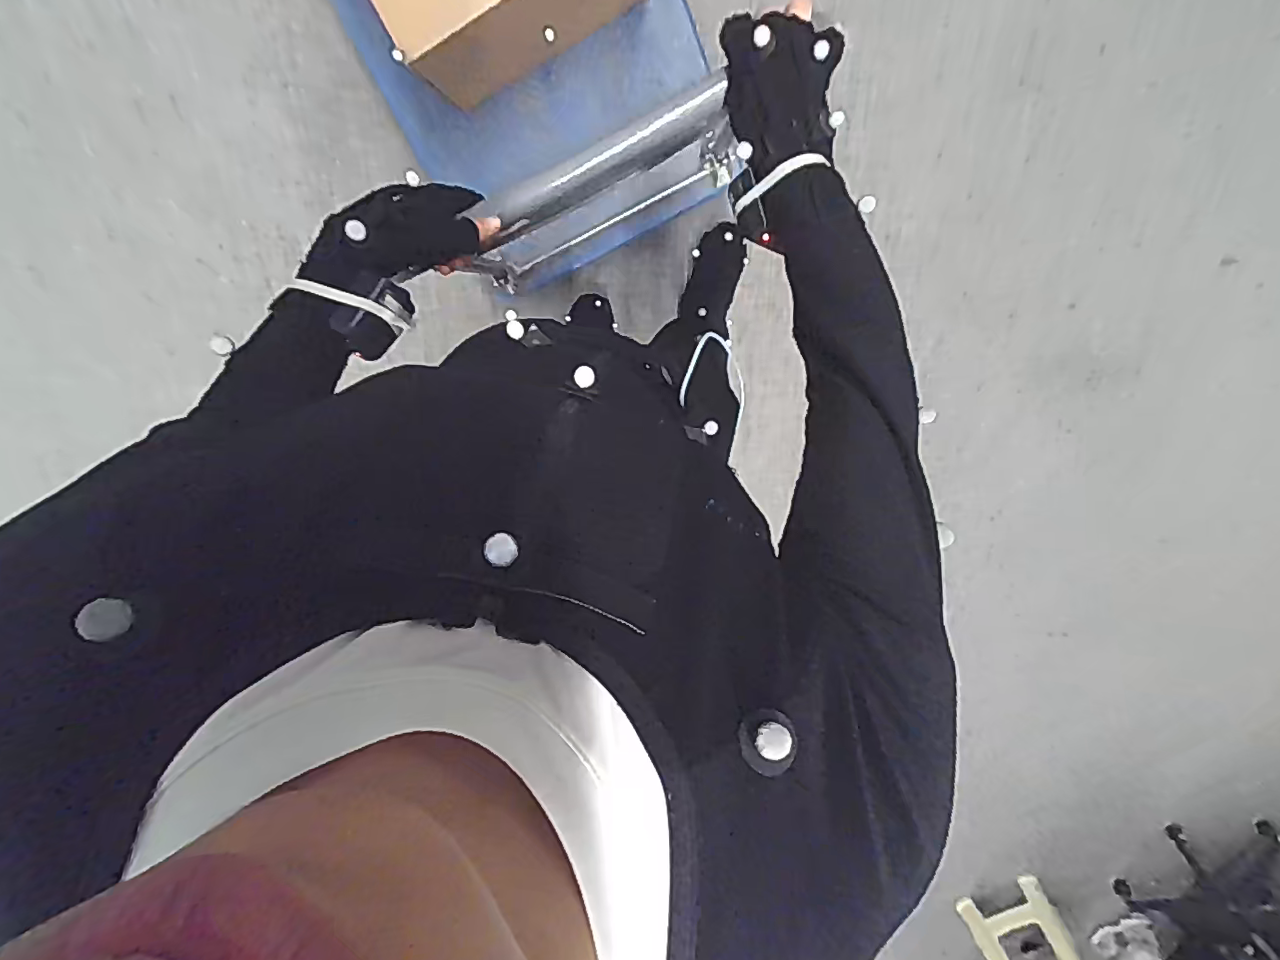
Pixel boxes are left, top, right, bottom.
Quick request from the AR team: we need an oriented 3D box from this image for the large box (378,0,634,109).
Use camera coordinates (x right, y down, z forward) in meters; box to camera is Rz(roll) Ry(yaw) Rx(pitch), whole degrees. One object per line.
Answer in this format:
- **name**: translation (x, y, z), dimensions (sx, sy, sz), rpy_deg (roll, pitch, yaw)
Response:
- **large box**: translation (-0.218, -0.855, 0.815), dimensions (0.408, 0.320, 0.320), rpy_deg (-26, 111, 9)
